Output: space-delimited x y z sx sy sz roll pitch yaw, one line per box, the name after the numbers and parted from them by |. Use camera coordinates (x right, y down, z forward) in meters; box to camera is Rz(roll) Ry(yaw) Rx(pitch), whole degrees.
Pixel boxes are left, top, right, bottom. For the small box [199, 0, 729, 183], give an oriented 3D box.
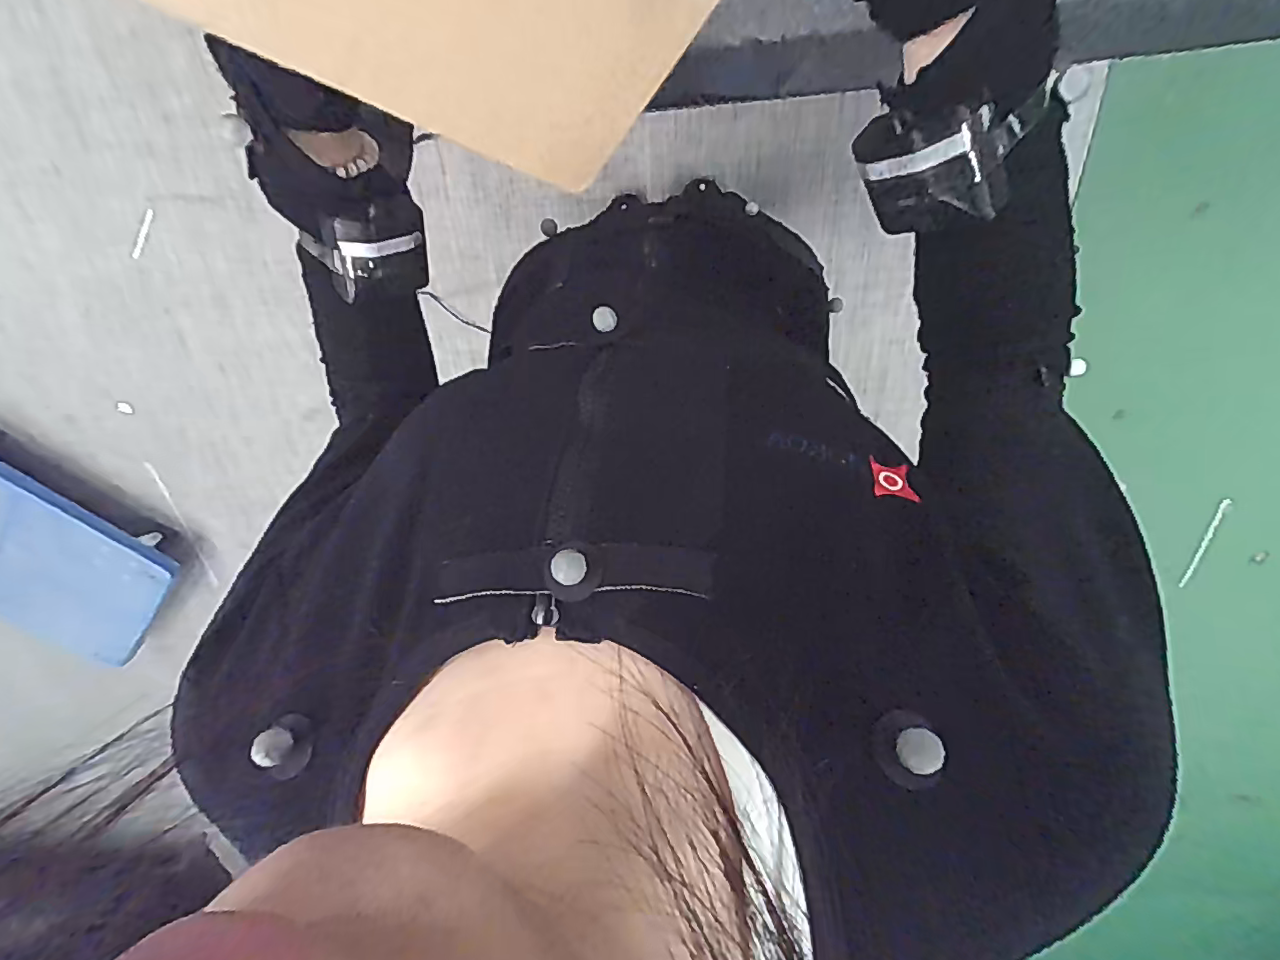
-0.057 -0.241 0.159 0.176 0.179 0.168 -1 156 -41 | small box
